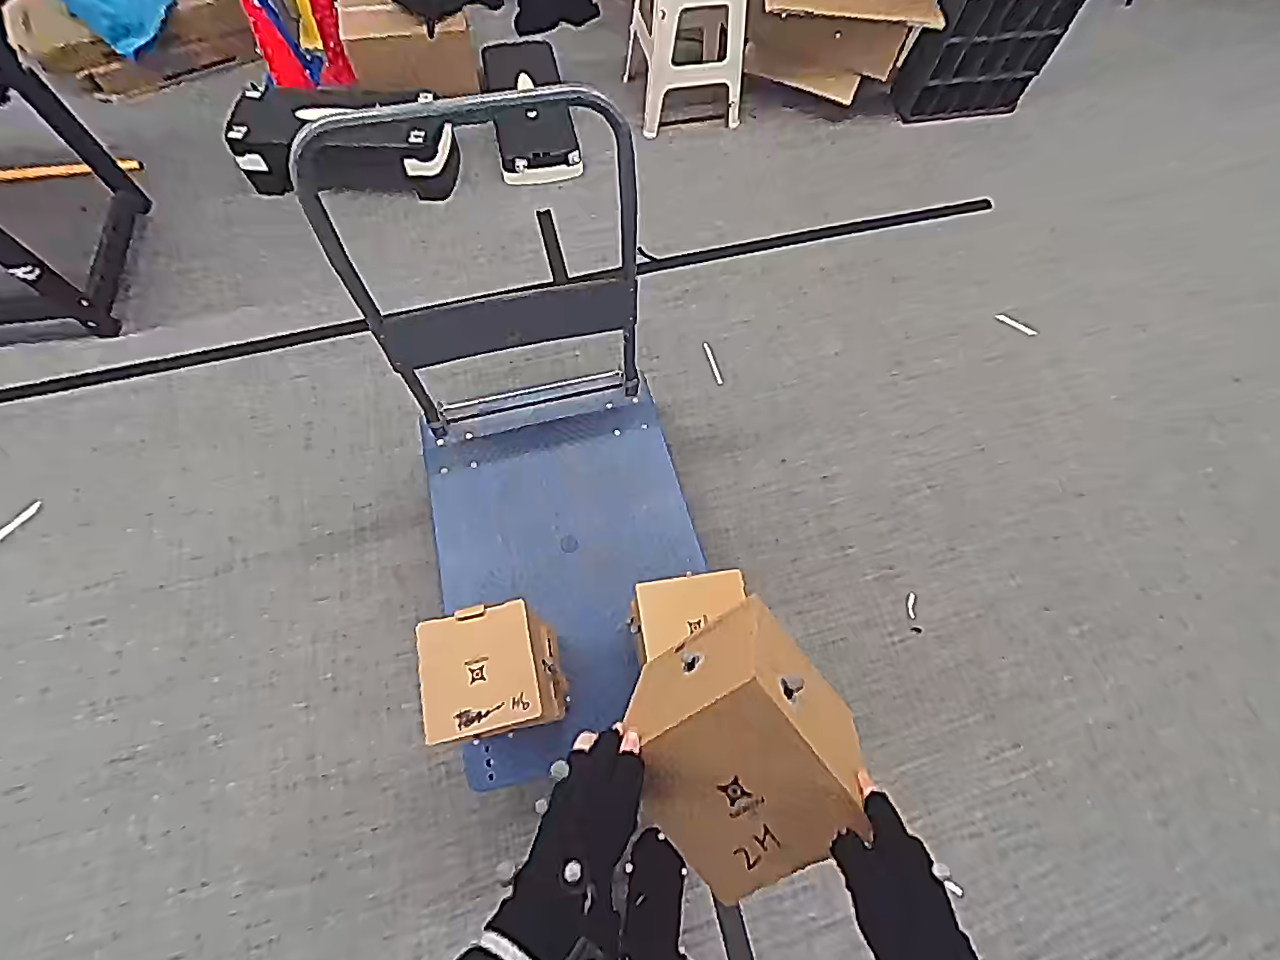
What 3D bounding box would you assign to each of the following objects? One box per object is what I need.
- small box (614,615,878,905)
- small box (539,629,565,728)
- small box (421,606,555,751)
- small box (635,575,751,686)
[{"bbox_3d":[0.104,0.261,0.548,0.168,0.176,0.179,-38,92,17],"label":"small box"},{"bbox_3d":[-0.238,0.388,1.015,0.179,0.176,0.168,-10,66,-6],"label":"small box"},{"bbox_3d":[-0.237,0.320,0.865,0.168,0.176,0.179,-12,66,-7],"label":"small box"},{"bbox_3d":[0.087,0.270,0.903,0.179,0.176,0.168,-7,66,-7],"label":"small box"}]
